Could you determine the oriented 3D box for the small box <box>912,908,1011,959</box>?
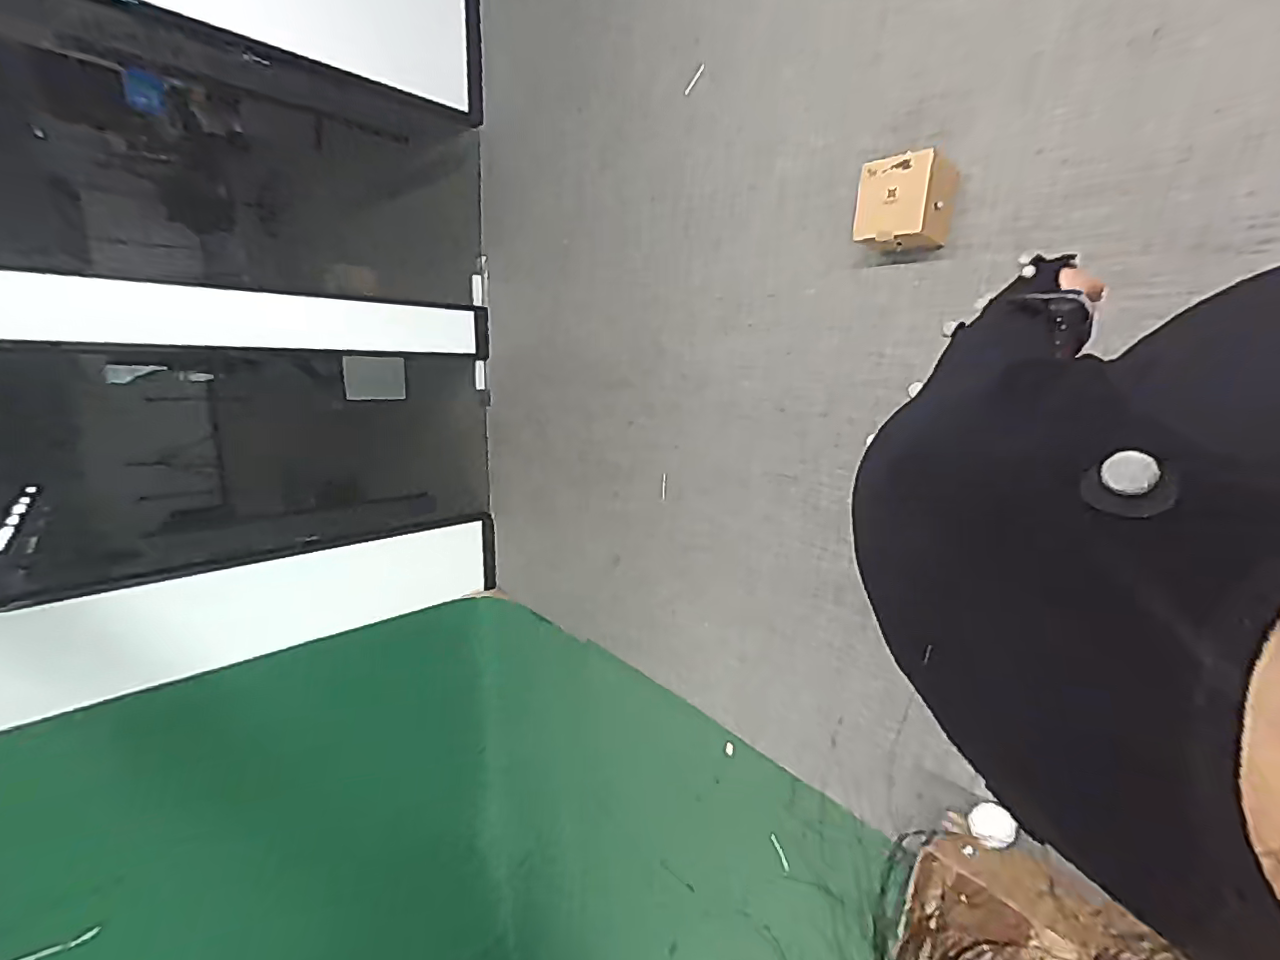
[{"bbox_3d":[0.716,1.139,1.219,0.168,0.176,0.179,21,110,44],"label":"small box"}]

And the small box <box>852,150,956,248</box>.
[{"bbox_3d":[0.644,-0.669,1.315,0.168,0.176,0.179,17,110,45],"label":"small box"}]
